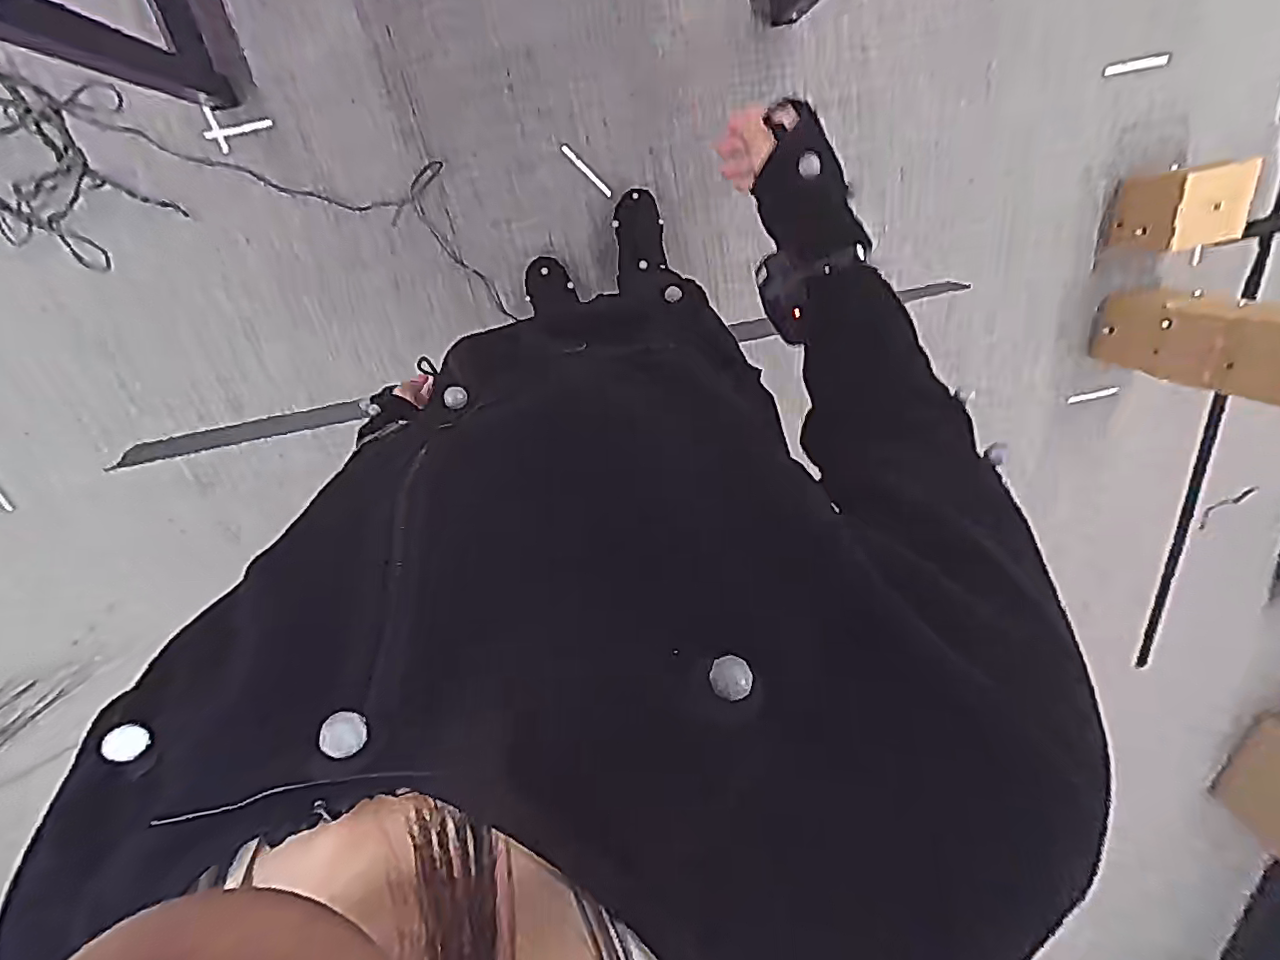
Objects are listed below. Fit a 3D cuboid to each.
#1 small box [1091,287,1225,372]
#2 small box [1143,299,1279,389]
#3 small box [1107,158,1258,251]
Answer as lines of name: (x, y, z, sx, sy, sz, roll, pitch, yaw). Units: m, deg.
small box: (1.343, -0.399, 1.420, 0.168, 0.176, 0.179, -8, 117, -3)
small box: (1.357, -0.324, 1.273, 0.179, 0.176, 0.168, -10, 116, -4)
small box: (1.278, -0.652, 1.290, 0.179, 0.176, 0.168, -14, 117, -2)
